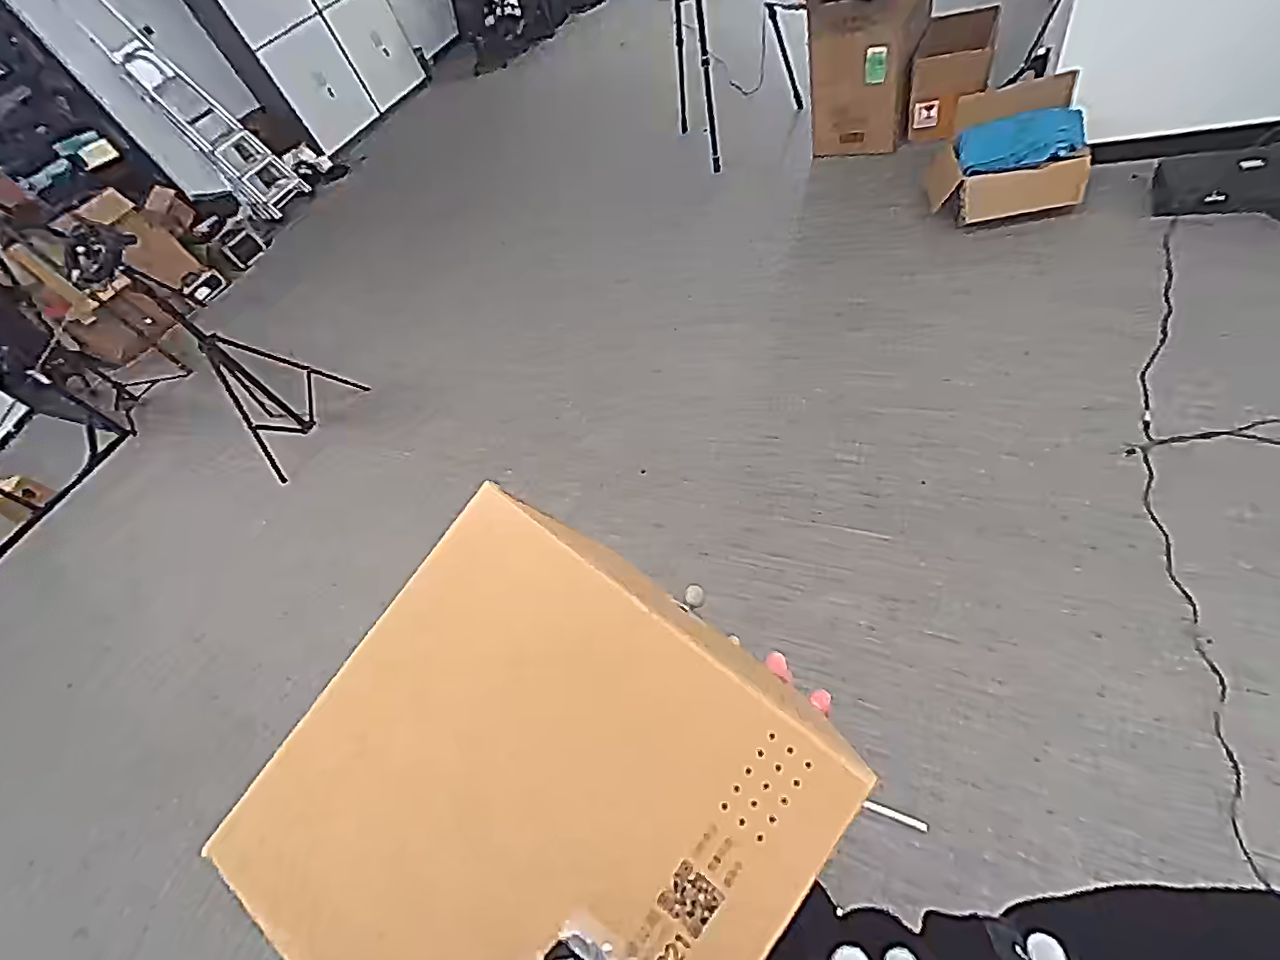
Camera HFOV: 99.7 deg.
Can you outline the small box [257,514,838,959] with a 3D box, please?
[{"bbox_3d":[-0.025,0.144,0.272,0.176,0.179,0.168,34,84,19],"label":"small box"}]
